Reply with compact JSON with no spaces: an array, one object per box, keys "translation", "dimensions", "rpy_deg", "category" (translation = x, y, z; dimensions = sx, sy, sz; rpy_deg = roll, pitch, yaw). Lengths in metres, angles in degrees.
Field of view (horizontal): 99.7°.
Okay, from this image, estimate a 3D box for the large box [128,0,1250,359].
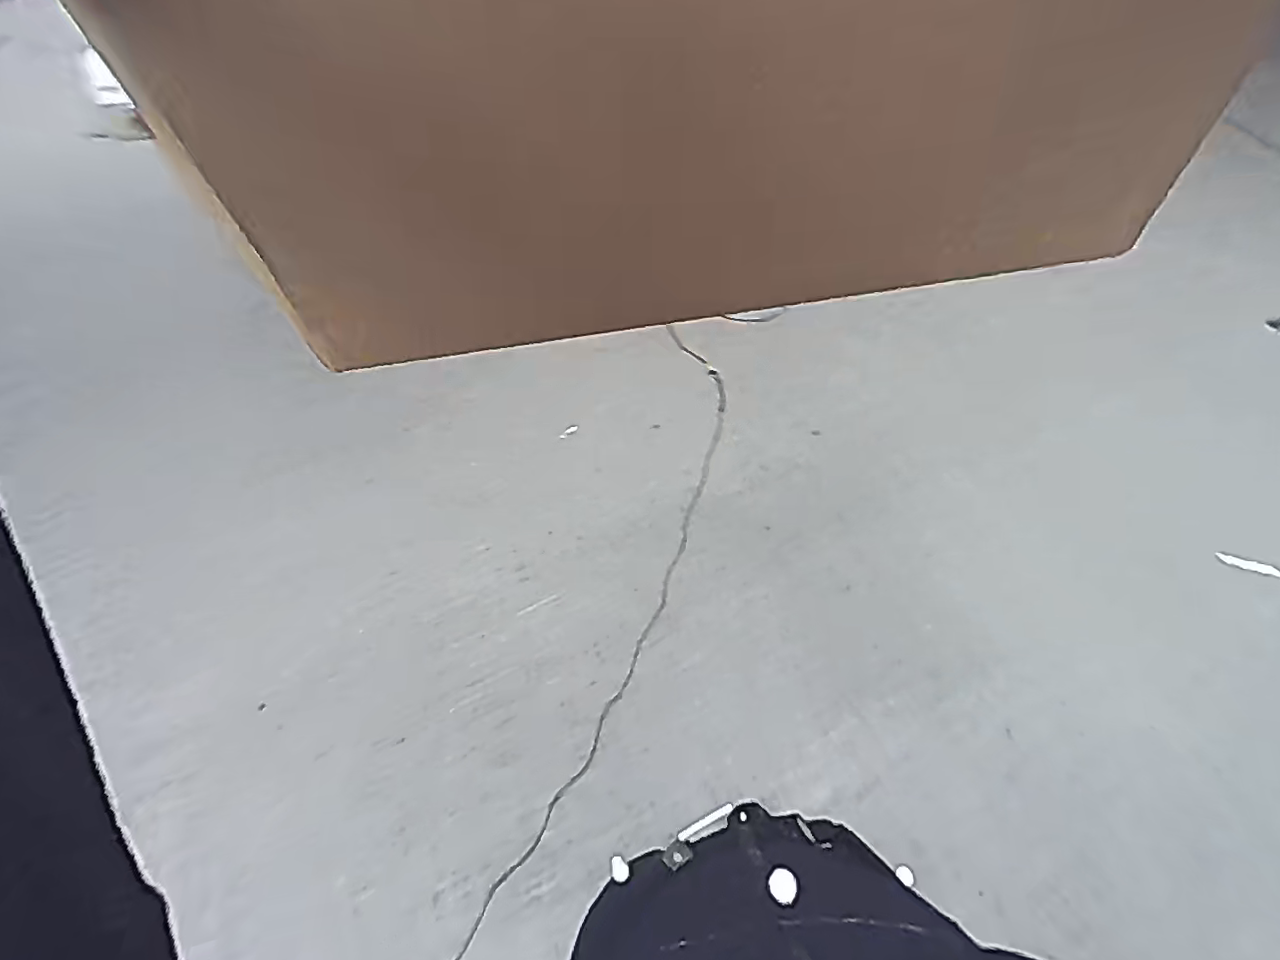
[{"translation":[0.016,-0.294,0.256],"dimensions":[0.408,0.320,0.320],"rpy_deg":[-8,52,-2],"category":"large box"}]
